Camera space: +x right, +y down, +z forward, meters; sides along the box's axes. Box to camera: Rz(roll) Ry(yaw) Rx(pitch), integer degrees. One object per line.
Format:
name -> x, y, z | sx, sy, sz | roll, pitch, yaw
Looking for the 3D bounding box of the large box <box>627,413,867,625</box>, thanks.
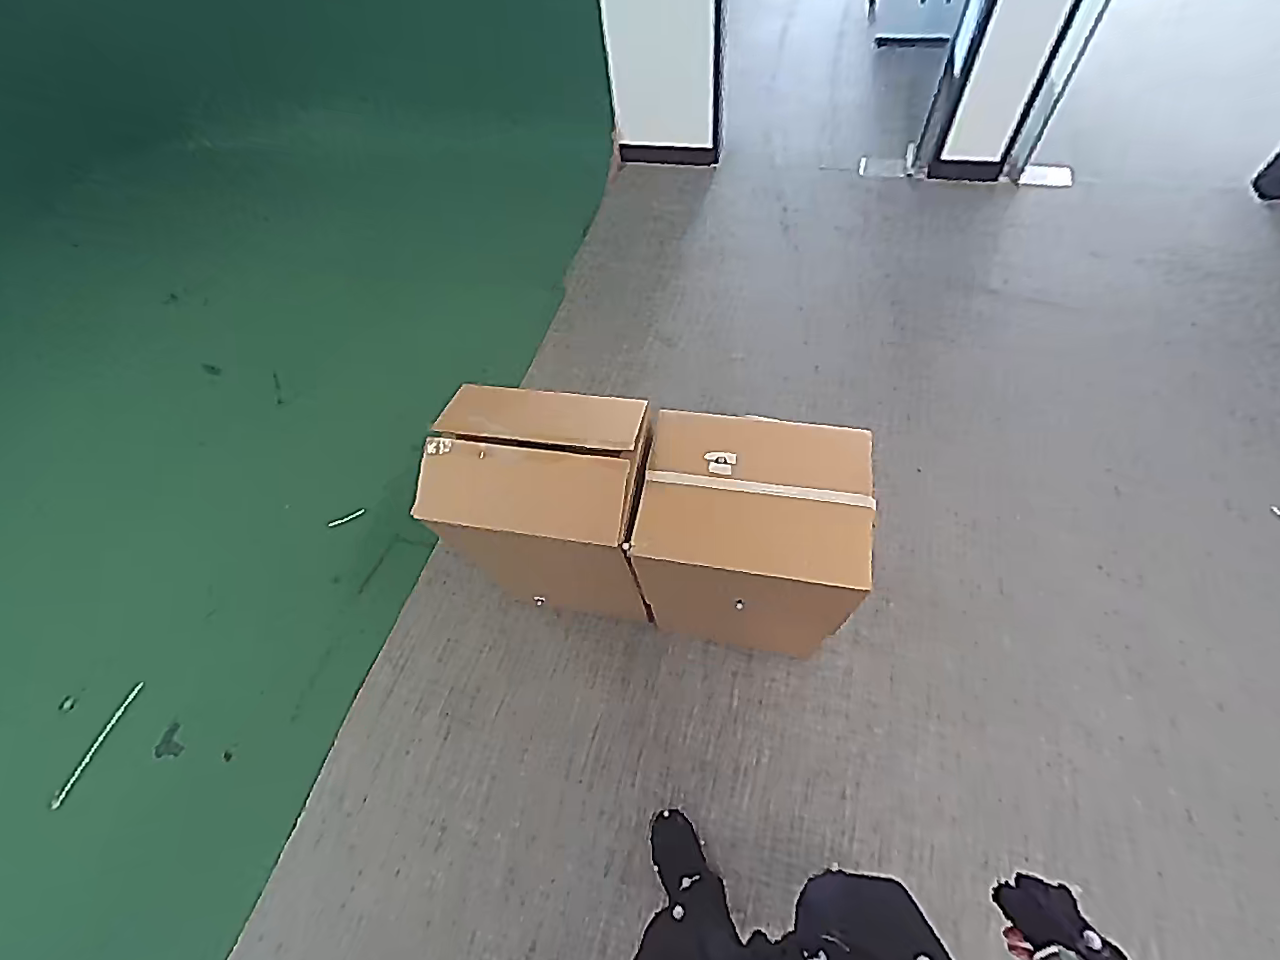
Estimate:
large box -> 0.218, 0.086, 1.100 | 0.408, 0.320, 0.320 | 6, 62, 12
